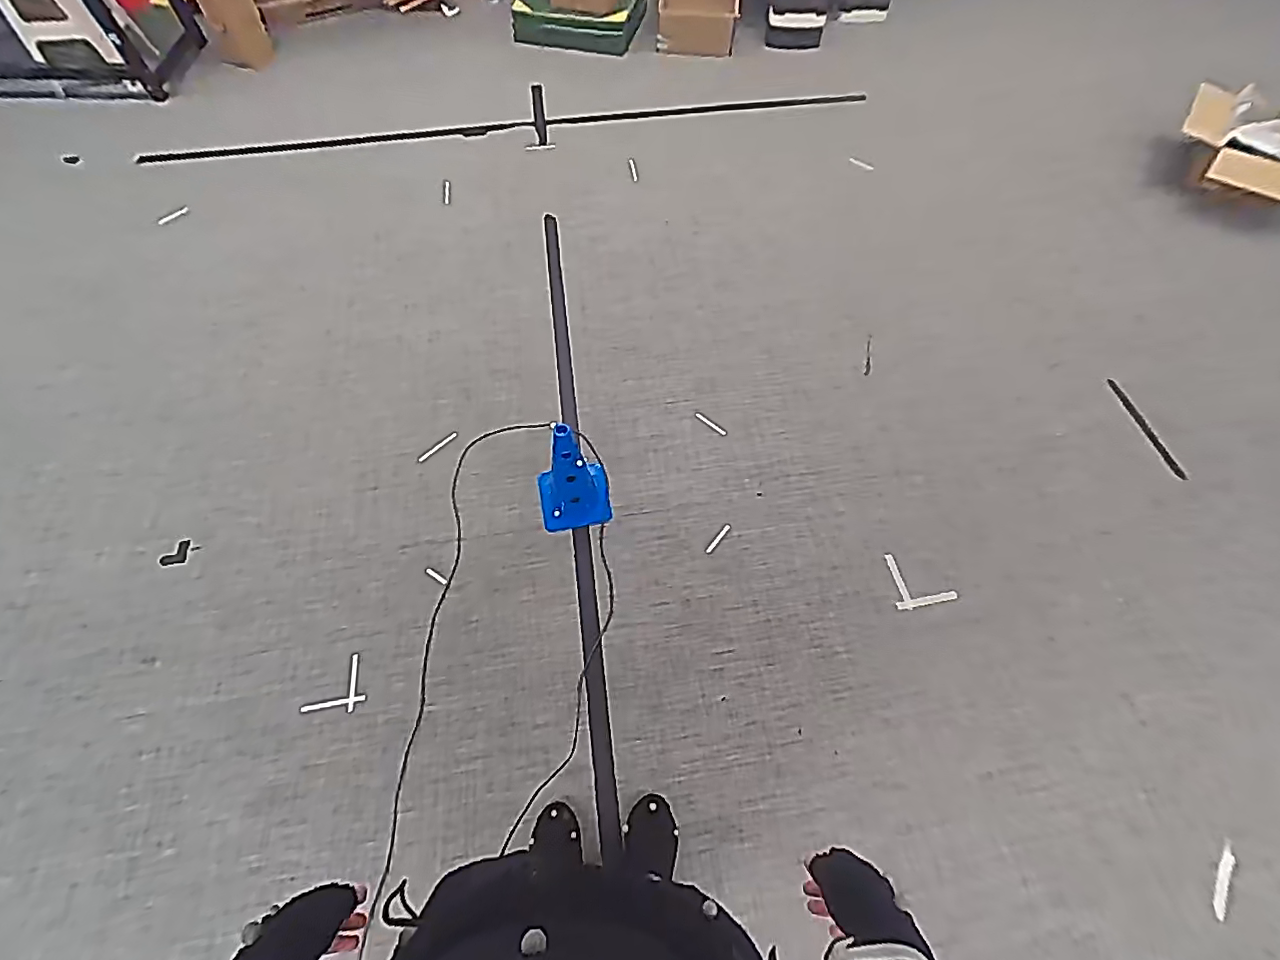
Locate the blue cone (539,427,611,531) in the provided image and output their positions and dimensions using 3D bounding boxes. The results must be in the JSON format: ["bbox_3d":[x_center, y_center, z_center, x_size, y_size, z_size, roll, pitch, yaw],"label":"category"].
[{"bbox_3d":[-0.185,-0.029,1.435,0.192,0.380,0.193,-12,63,-8],"label":"blue cone"}]
